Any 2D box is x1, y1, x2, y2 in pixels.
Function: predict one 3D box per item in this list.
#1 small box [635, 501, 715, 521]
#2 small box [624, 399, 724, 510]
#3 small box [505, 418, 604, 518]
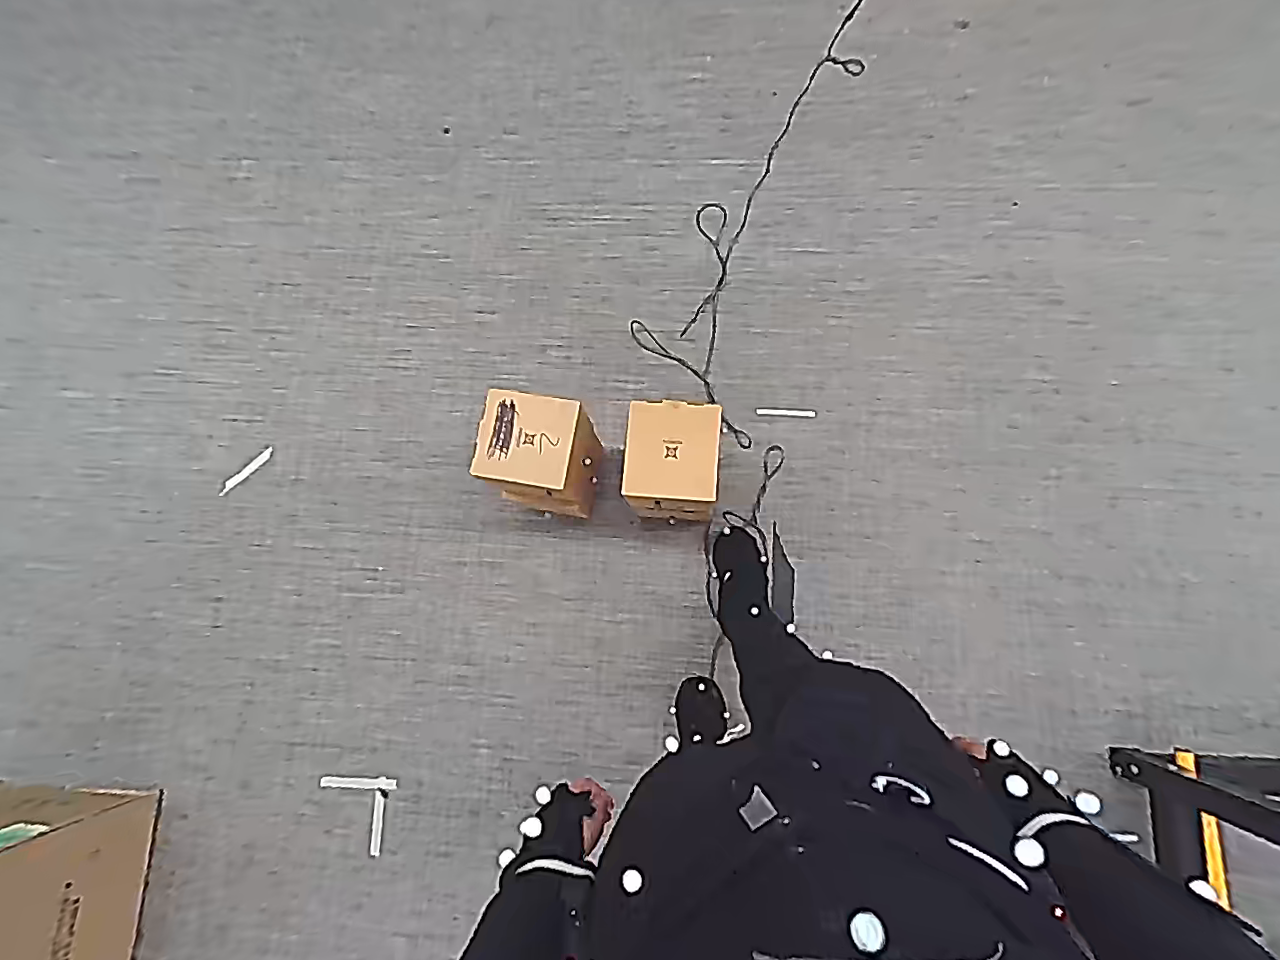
[{"bbox_3d":[0.083,-0.011,1.184,0.168,0.176,0.179,4,80,6],"label":"small box"},{"bbox_3d":[0.068,-0.041,1.024,0.168,0.176,0.179,4,79,6],"label":"small box"},{"bbox_3d":[-0.181,-0.021,1.204,0.168,0.176,0.179,10,81,6],"label":"small box"}]
